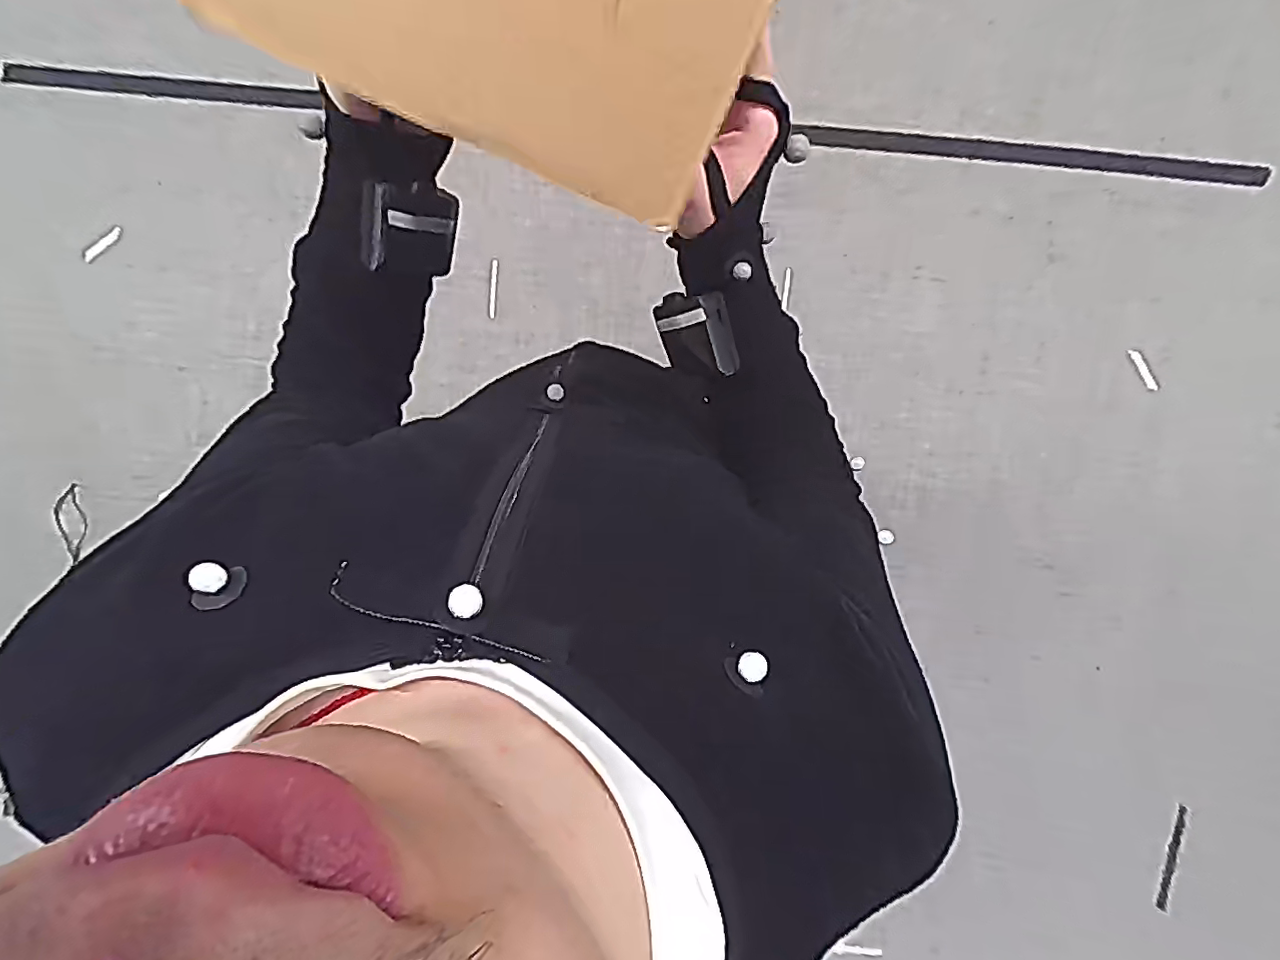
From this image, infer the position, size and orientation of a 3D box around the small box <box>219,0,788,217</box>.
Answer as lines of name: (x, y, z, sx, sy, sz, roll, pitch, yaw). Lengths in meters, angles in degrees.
small box: (-0.027, -0.238, 0.196, 0.179, 0.176, 0.168, 16, 139, -14)
